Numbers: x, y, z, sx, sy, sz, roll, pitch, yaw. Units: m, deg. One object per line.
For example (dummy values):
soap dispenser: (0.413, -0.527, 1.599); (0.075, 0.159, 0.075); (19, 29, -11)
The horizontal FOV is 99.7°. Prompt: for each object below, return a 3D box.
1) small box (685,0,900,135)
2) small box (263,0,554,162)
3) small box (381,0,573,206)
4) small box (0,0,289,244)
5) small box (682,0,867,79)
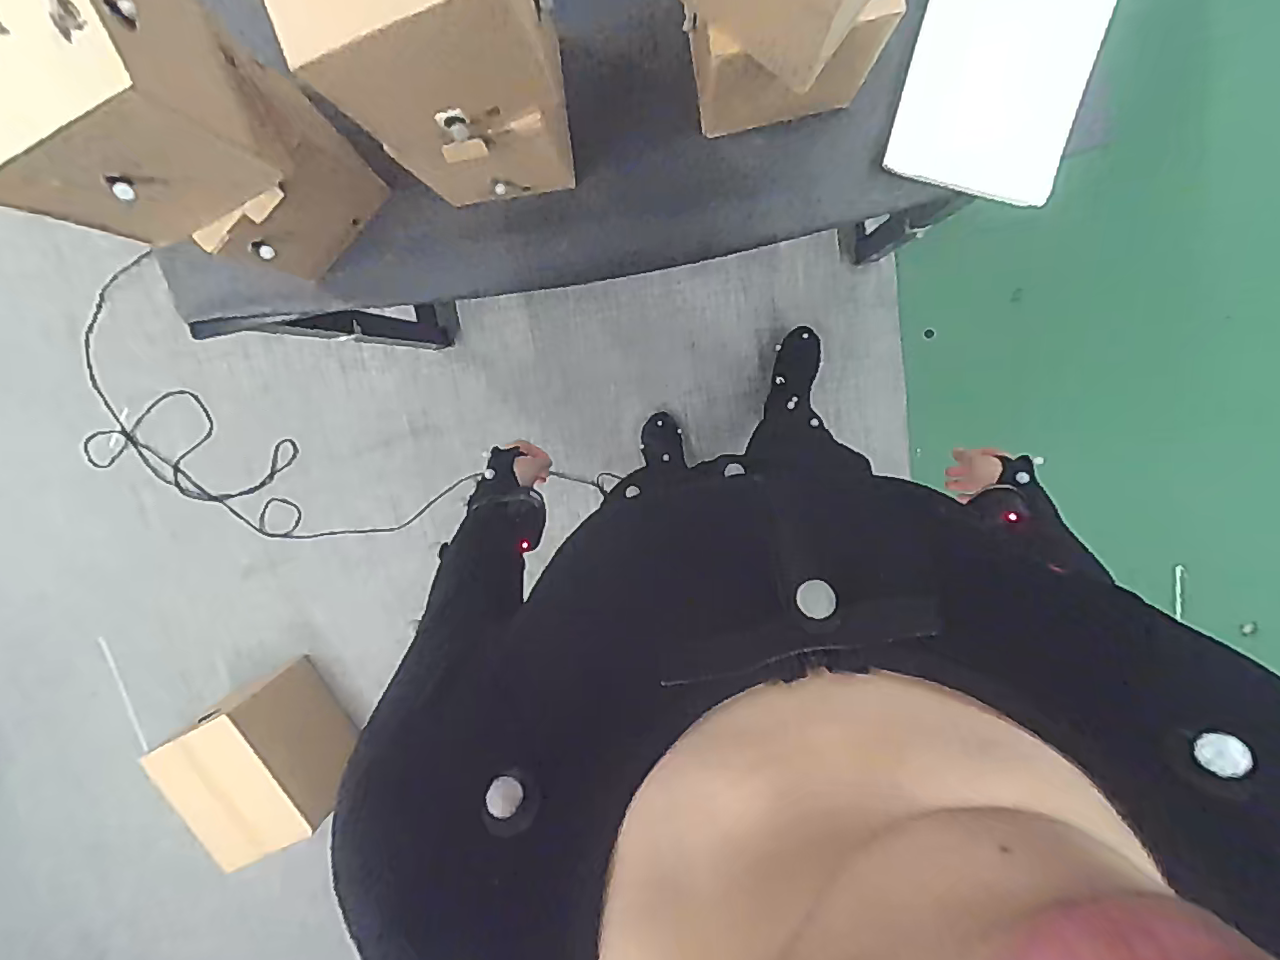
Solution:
small box: (0.144, -0.498, 0.562); (0.179, 0.176, 0.168); (-10, 98, 7)
small box: (-0.188, -0.405, 0.441); (0.168, 0.176, 0.179); (-17, 98, 9)
small box: (-0.179, -0.433, 0.601); (0.168, 0.176, 0.179); (-6, 99, 7)
small box: (-0.467, -0.336, 0.476); (0.179, 0.176, 0.168); (-23, 97, 9)
small box: (0.118, -0.458, 0.404); (0.179, 0.176, 0.168); (37, 101, -2)
